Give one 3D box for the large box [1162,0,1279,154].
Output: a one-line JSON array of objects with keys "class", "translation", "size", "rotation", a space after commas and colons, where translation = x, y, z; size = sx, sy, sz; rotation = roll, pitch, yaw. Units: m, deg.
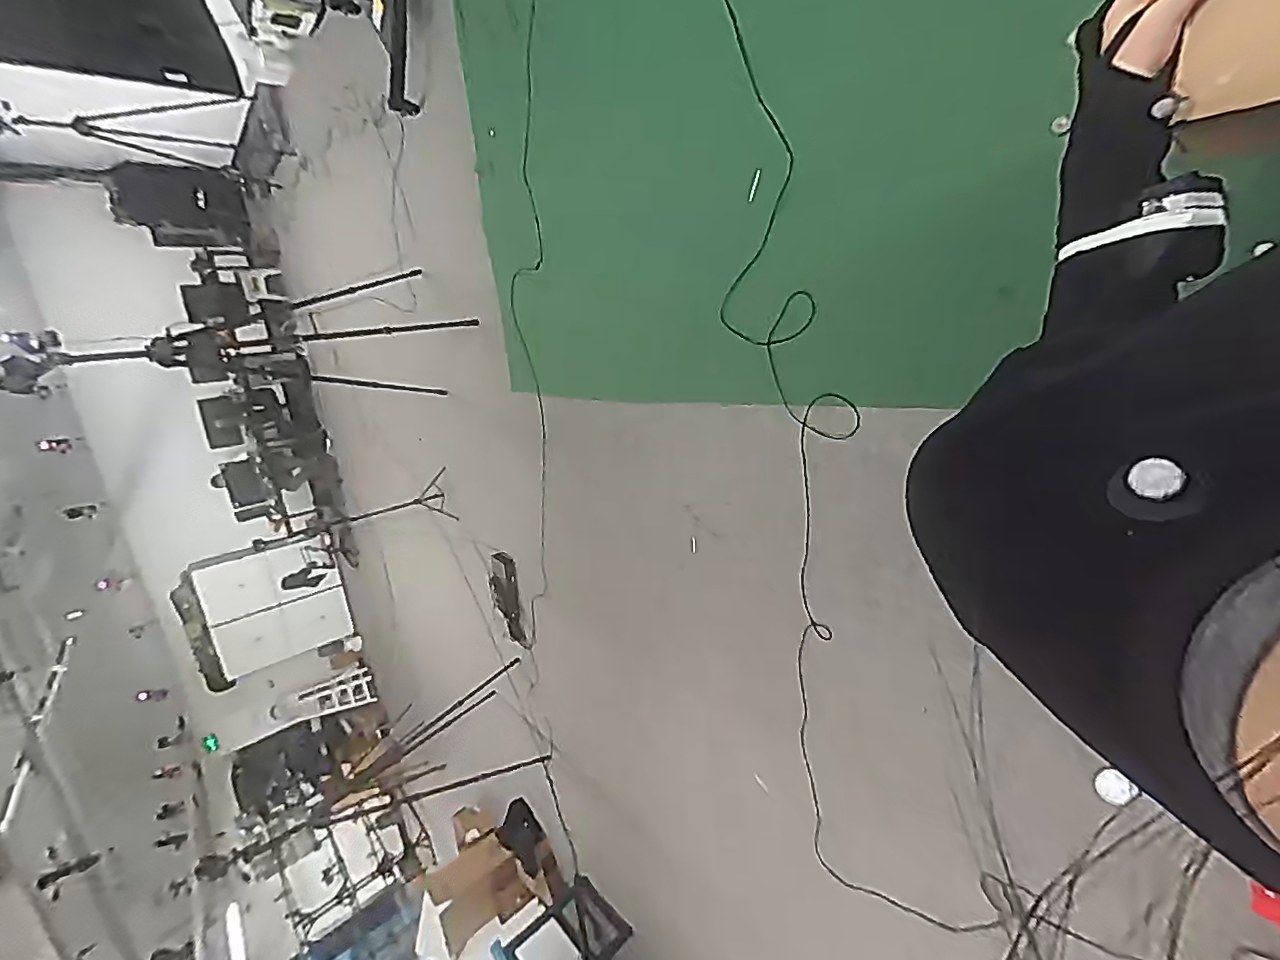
[{"class": "large box", "translation": [0.601, -0.415, 0.297], "size": [0.408, 0.320, 0.320], "rotation": [12, 115, 45]}]
